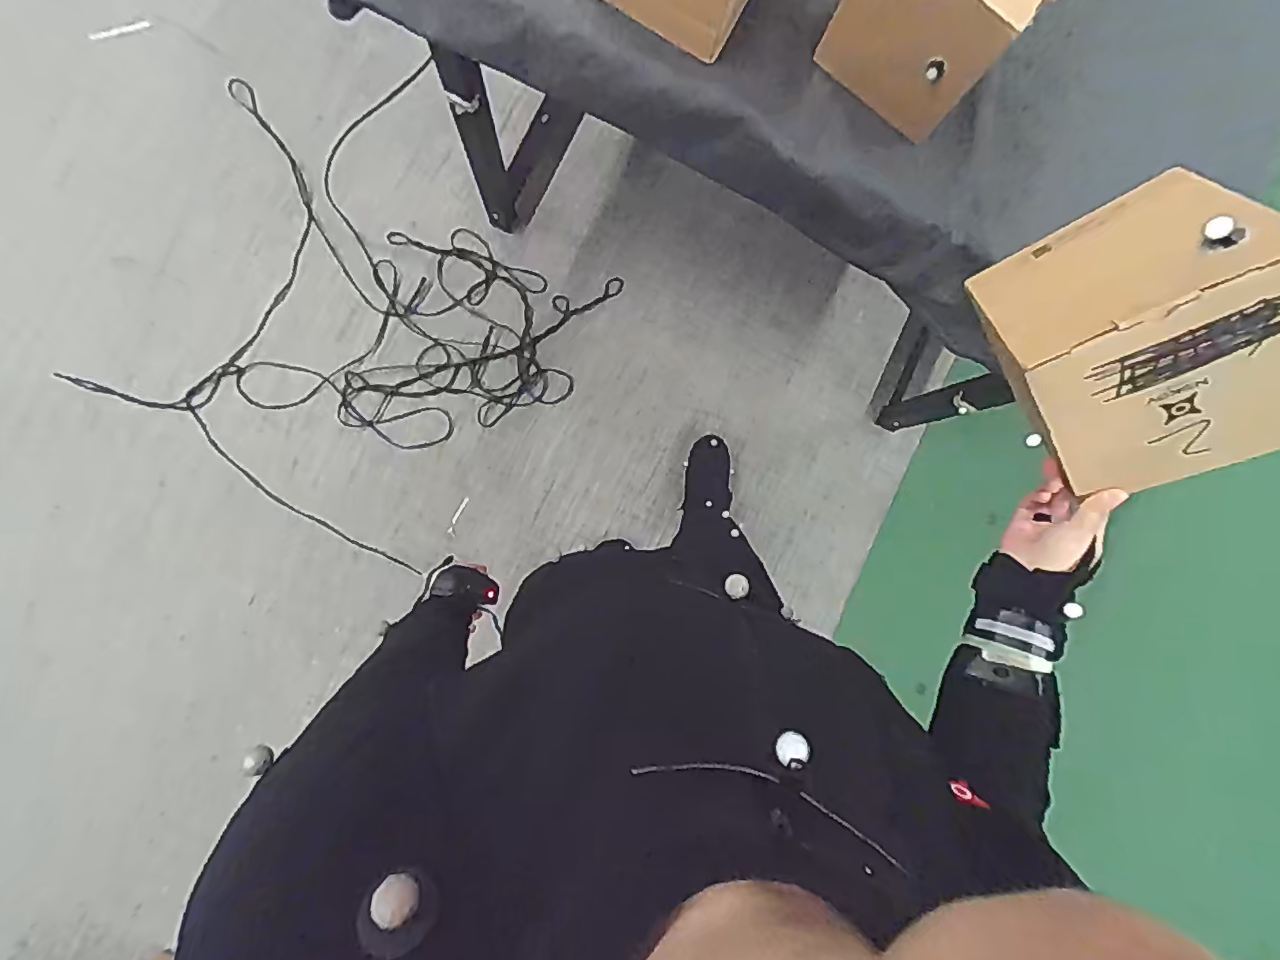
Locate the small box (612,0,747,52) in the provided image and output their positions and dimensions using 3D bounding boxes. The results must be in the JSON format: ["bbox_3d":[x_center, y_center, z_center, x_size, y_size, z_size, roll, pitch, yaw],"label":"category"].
[{"bbox_3d":[0.056,-0.625,0.583,0.179,0.176,0.168,28,84,-4],"label":"small box"}]

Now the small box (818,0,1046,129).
[{"bbox_3d":[0.340,-0.545,0.608,0.179,0.176,0.168,36,83,-2],"label":"small box"}]
